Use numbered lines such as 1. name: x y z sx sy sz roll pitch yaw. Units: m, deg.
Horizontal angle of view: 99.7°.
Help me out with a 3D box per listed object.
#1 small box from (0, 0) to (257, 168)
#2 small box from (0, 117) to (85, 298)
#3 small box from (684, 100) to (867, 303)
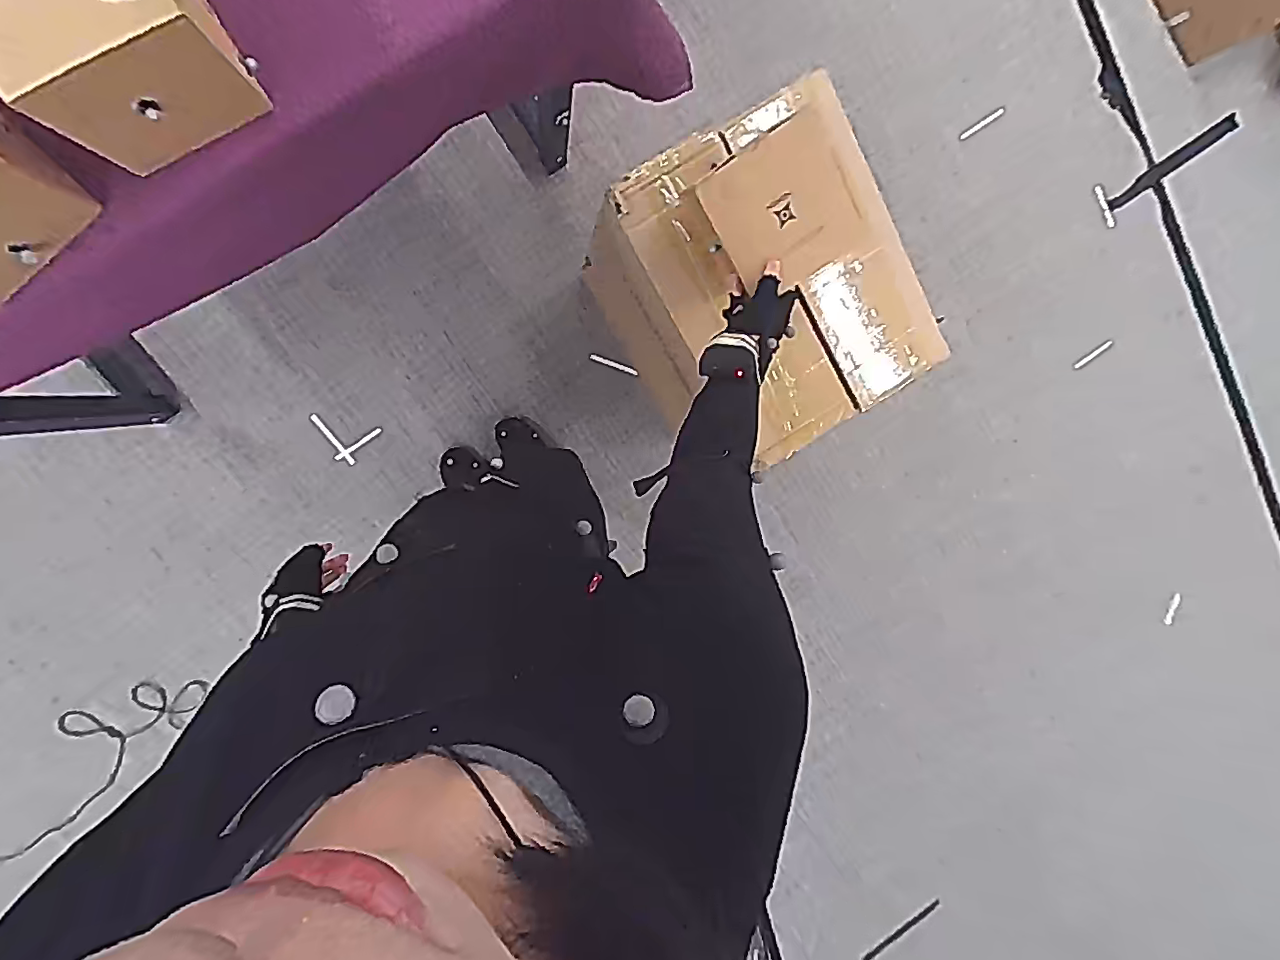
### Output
1. small box: -0.533 -0.457 0.542 0.179 0.176 0.168 -31 102 -4
2. small box: -0.724 -0.305 0.530 0.179 0.176 0.168 -45 102 -3
3. small box: 0.175 -0.372 0.749 0.168 0.176 0.179 -32 112 12
